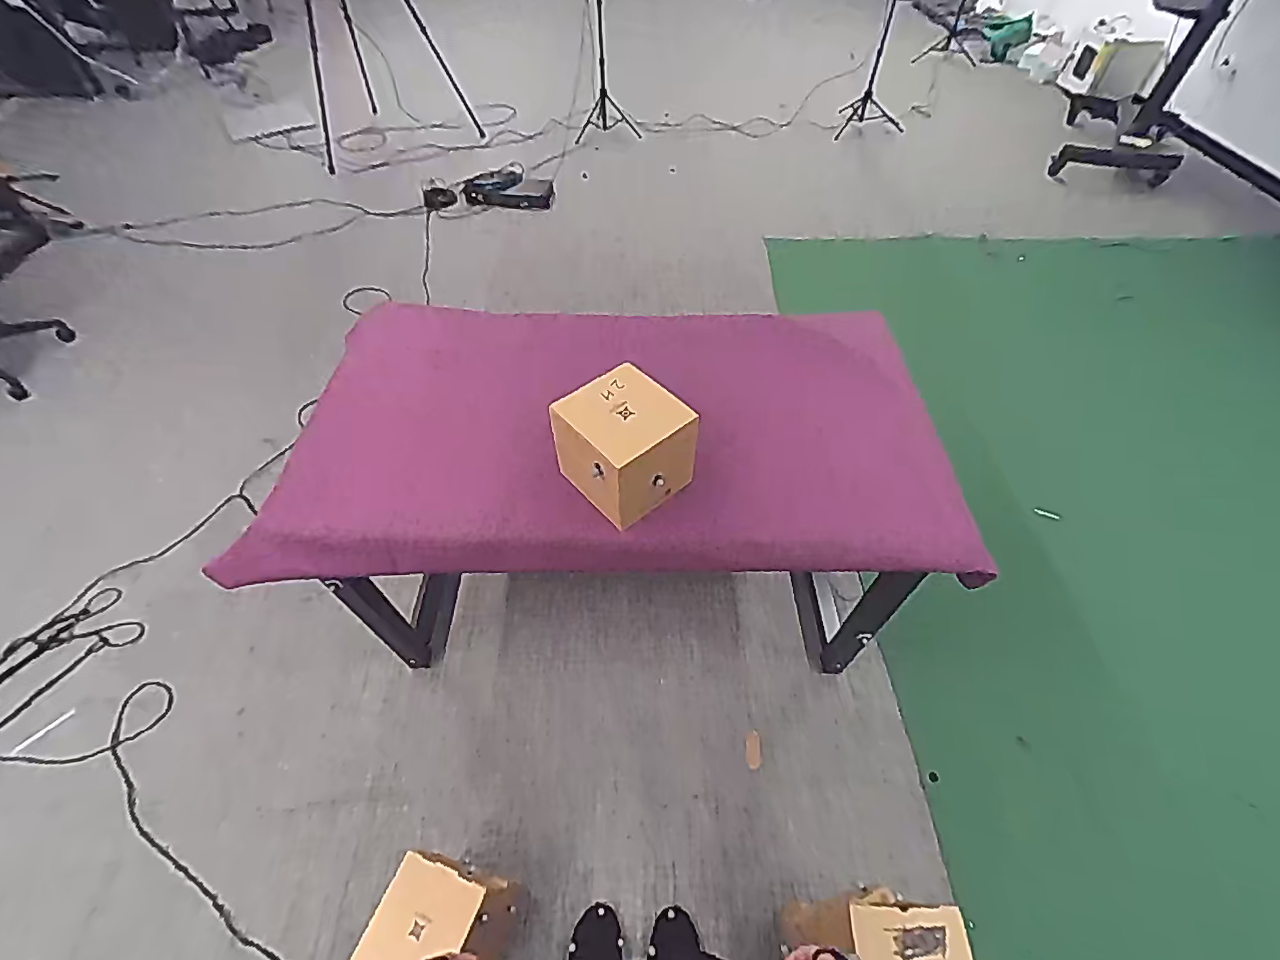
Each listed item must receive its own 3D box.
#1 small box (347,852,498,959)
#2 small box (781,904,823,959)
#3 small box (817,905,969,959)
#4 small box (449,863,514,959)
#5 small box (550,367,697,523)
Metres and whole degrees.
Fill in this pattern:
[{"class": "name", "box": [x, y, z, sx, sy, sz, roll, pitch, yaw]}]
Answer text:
[{"class": "small box", "box": [-0.375, 0.800, 0.962, 0.168, 0.176, 0.179, 16, 53, 13]}, {"class": "small box", "box": [0.373, 0.950, 1.054, 0.179, 0.176, 0.168, 8, 53, 6]}, {"class": "small box", "box": [0.375, 0.742, 0.799, 0.168, 0.176, 0.179, 2, 53, 0]}, {"class": "small box", "box": [-0.367, 0.898, 1.090, 0.168, 0.176, 0.179, 12, 54, 10]}, {"class": "small box", "box": [-0.027, -0.051, 0.907, 0.168, 0.176, 0.179, -34, 59, -25]}]
